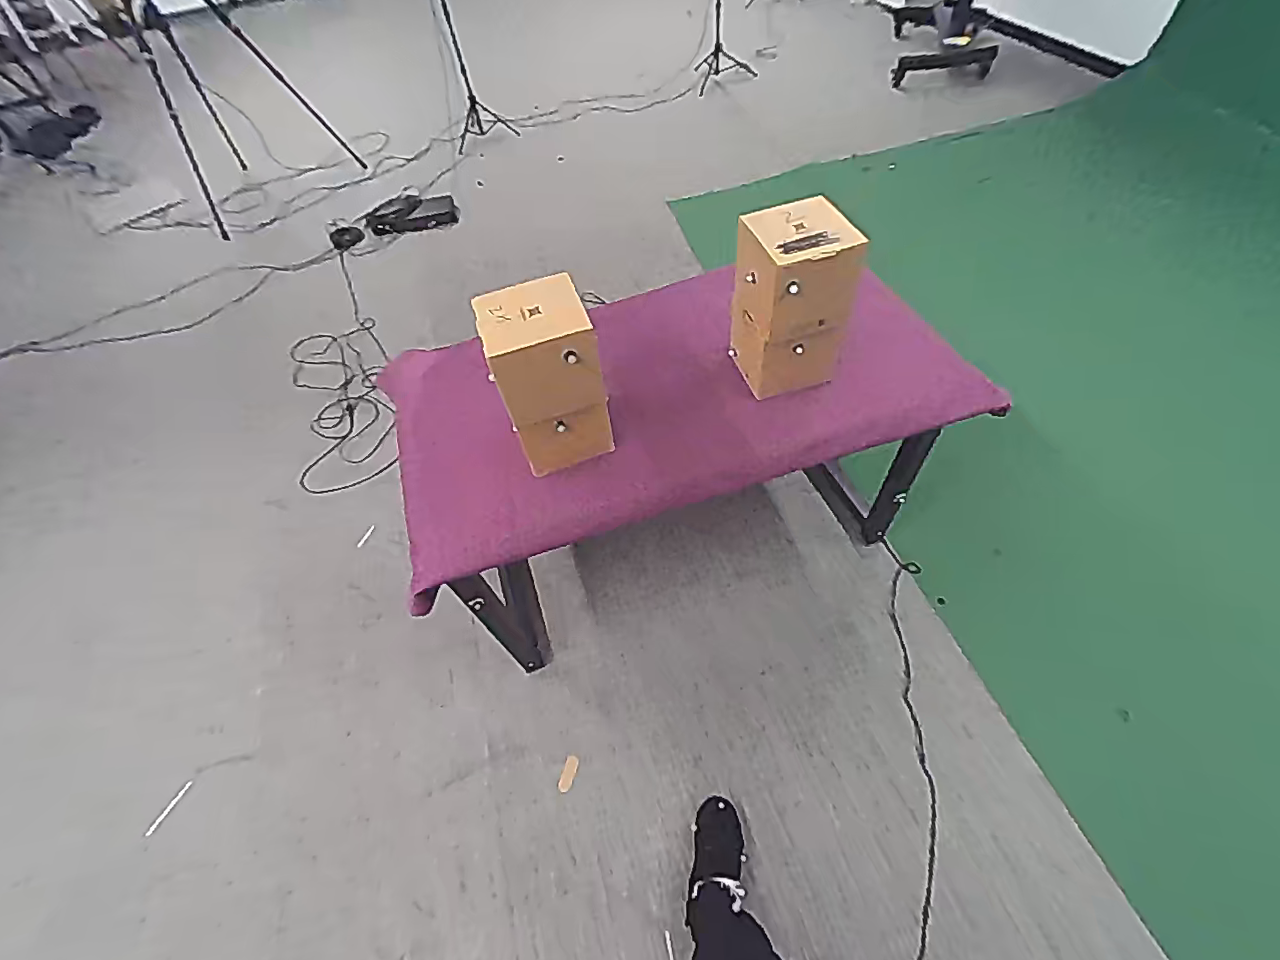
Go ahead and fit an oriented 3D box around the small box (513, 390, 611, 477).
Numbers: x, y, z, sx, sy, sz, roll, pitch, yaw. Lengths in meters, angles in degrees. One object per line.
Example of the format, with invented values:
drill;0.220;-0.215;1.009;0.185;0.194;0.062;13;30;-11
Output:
small box;-0.165;-0.135;1.091;0.179;0.176;0.168;-20;55;-7

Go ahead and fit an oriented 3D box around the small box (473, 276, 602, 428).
small box;-0.172;-0.220;0.948;0.179;0.176;0.168;-18;55;-7

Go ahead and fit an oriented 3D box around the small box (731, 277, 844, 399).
small box;0.302;-0.297;1.152;0.179;0.176;0.168;-16;55;-6
